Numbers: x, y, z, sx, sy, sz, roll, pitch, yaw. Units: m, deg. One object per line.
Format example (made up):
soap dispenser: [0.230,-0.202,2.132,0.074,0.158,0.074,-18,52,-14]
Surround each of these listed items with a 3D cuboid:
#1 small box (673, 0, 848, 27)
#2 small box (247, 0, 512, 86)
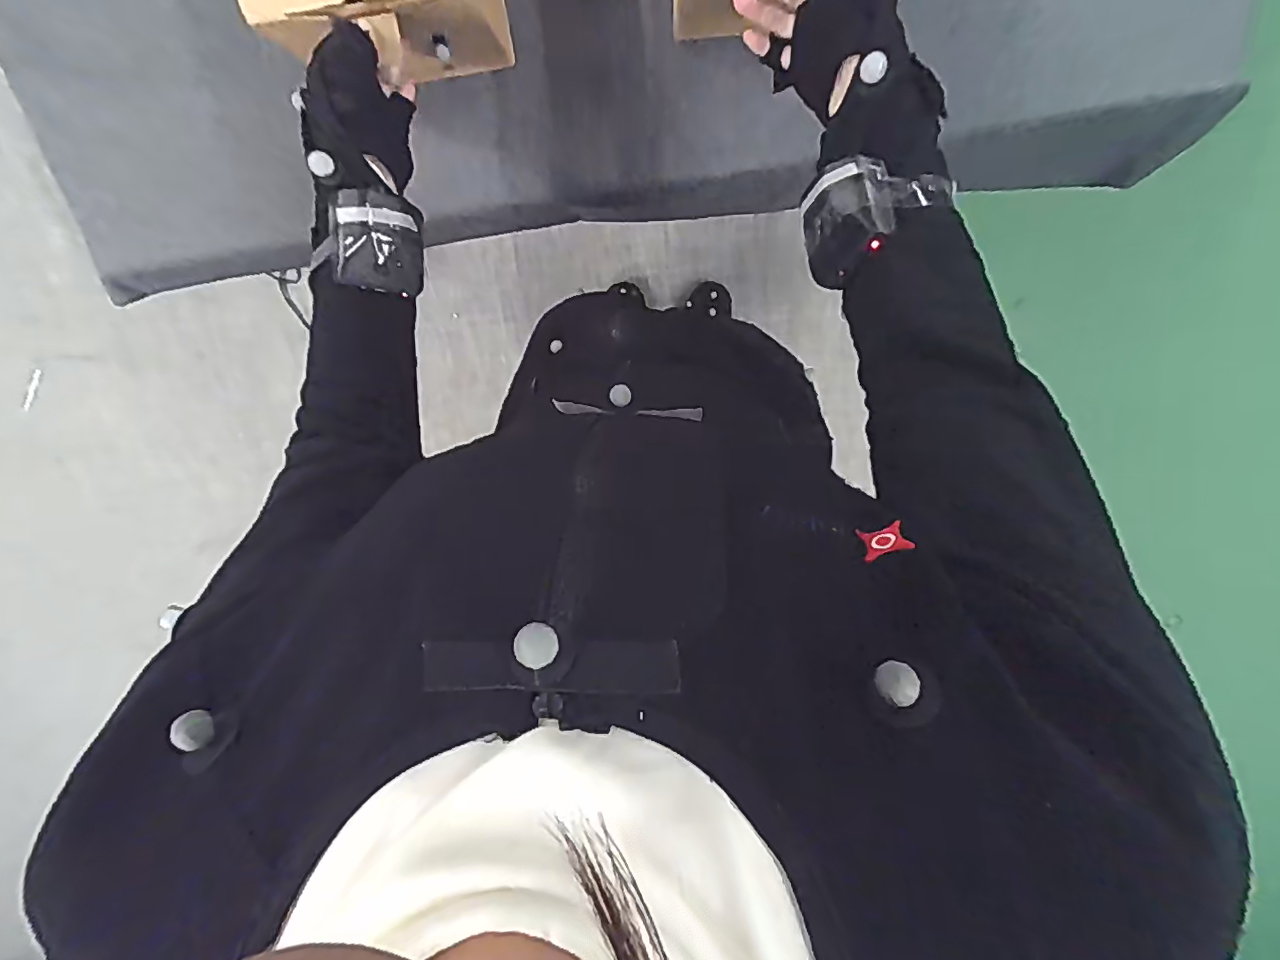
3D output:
small box: [0.105,-0.483,0.414,0.168,0.176,0.179,-3,112,3]
small box: [-0.216,-0.452,0.443,0.168,0.176,0.179,-7,111,4]
